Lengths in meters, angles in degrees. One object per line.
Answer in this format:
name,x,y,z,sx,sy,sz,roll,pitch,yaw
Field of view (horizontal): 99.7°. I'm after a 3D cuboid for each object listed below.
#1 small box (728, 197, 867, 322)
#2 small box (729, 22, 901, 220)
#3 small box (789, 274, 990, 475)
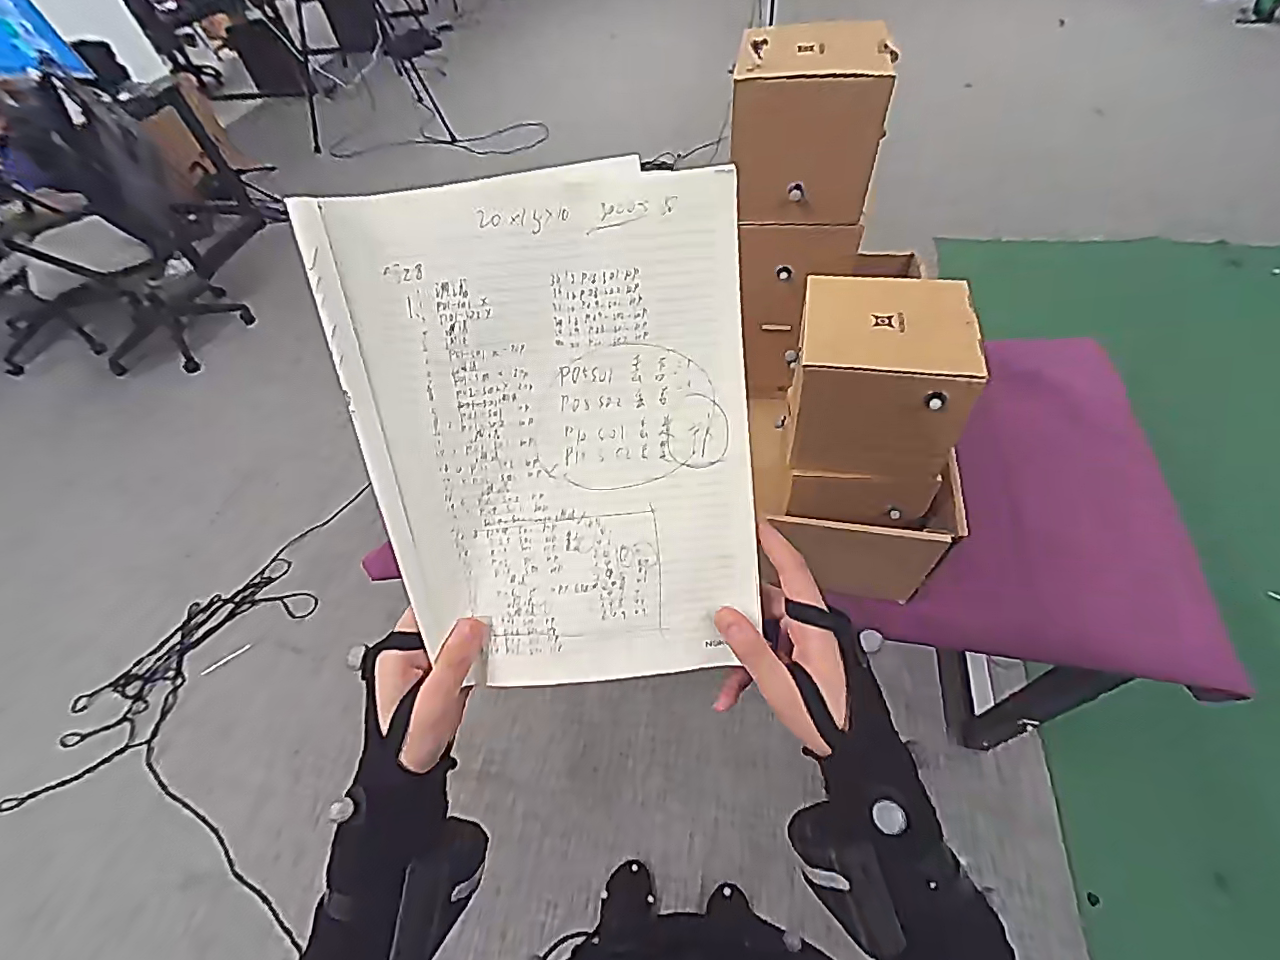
small box,0.233,-0.360,0.830,0.179,0.176,0.168,5,55,10
small box,0.217,-0.459,0.700,0.179,0.176,0.168,7,55,10
small box,0.277,-0.123,0.642,0.179,0.176,0.168,7,53,12
